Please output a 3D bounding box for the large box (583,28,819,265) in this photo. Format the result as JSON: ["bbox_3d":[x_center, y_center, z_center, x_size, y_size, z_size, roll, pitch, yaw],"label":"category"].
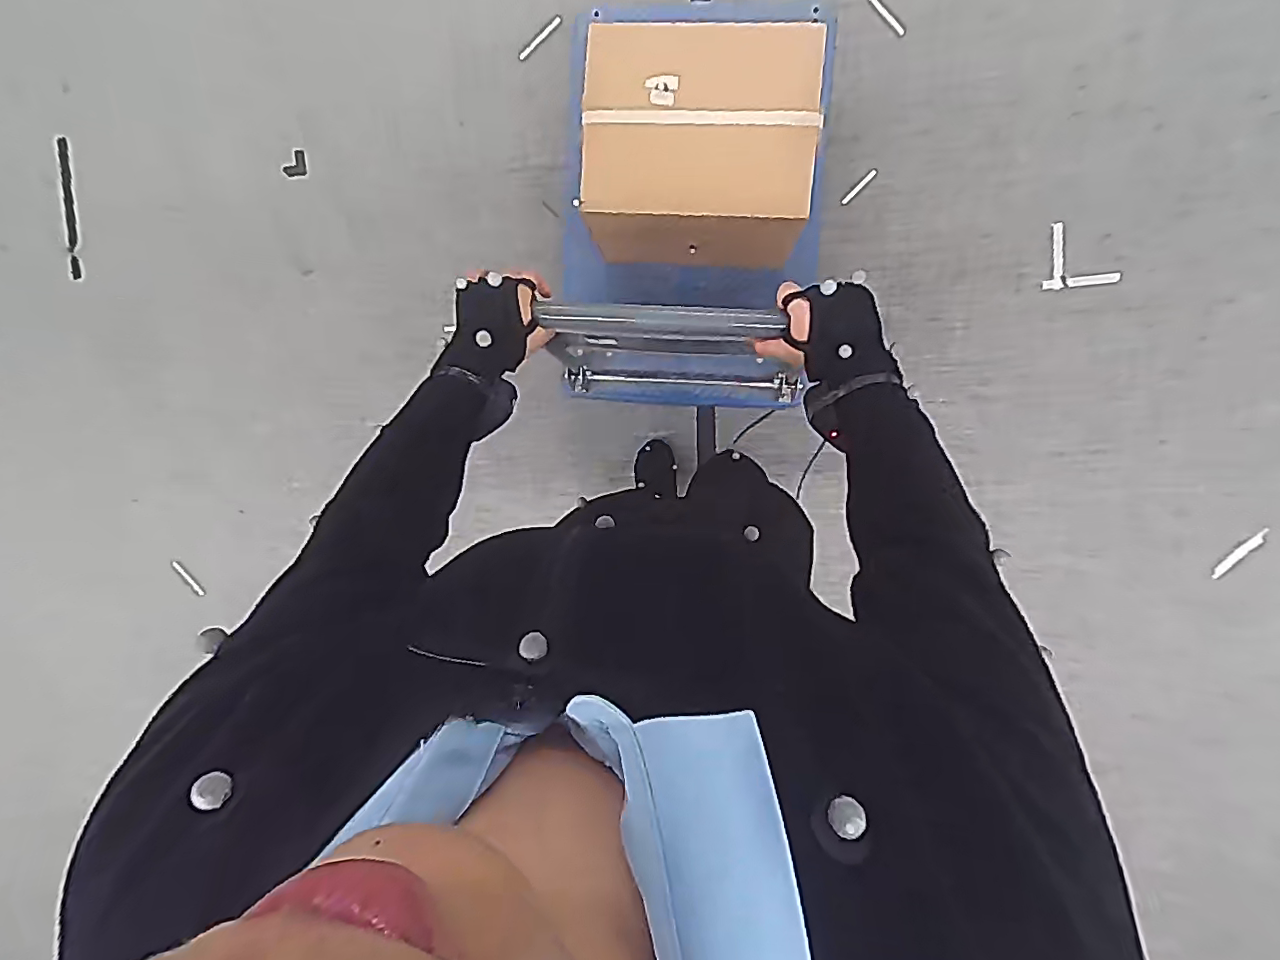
[{"bbox_3d":[0.119,-0.637,1.094,0.408,0.320,0.320,4,95,7],"label":"large box"}]
